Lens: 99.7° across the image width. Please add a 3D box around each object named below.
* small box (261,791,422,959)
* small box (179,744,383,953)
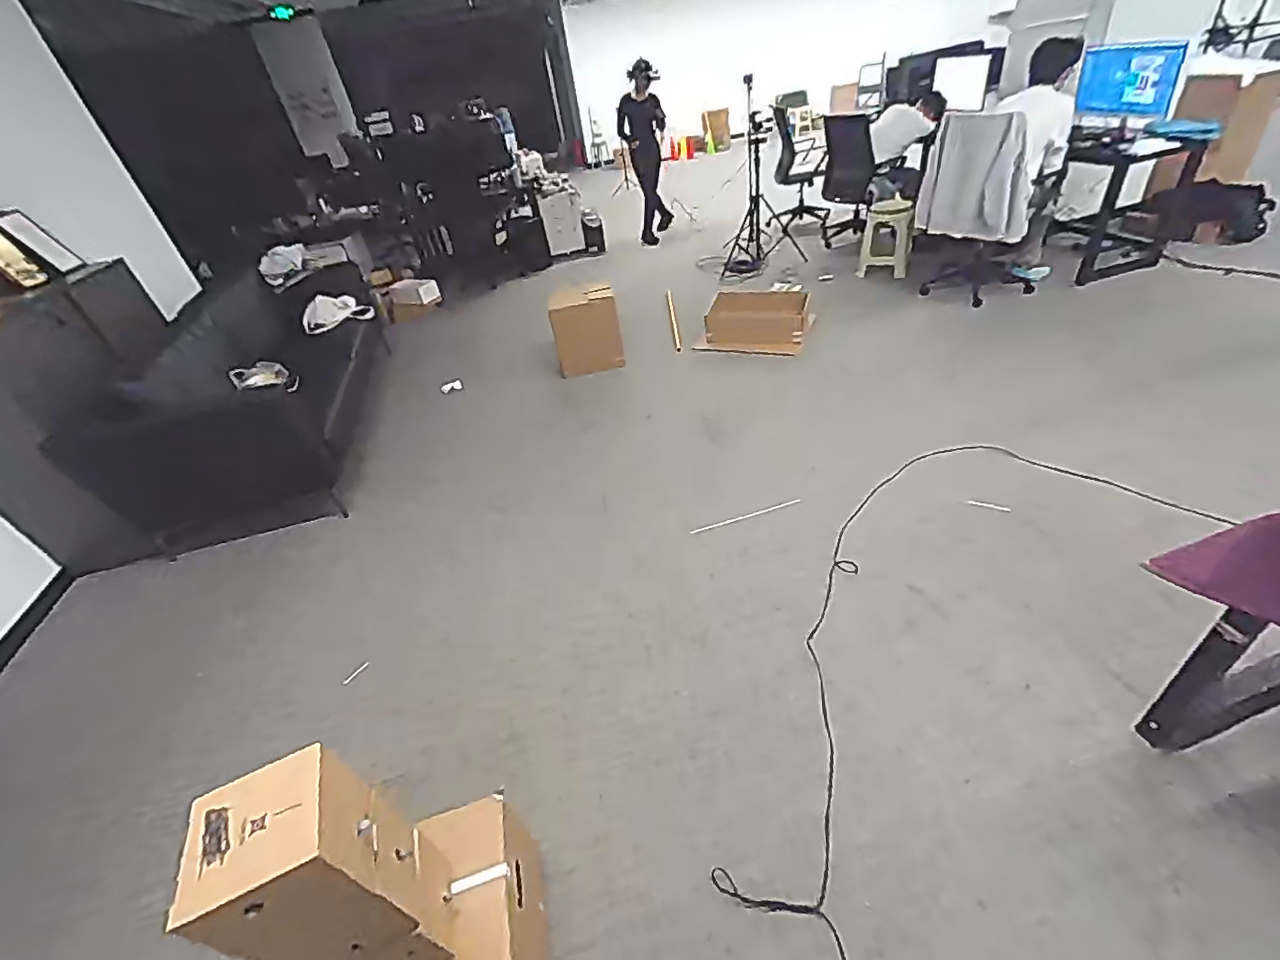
[{"bbox_3d":[-0.471,0.655,0.882,0.179,0.176,0.168,-21,40,-14],"label":"small box"},{"bbox_3d":[-0.498,0.529,0.778,0.179,0.176,0.168,-22,40,-14],"label":"small box"}]
